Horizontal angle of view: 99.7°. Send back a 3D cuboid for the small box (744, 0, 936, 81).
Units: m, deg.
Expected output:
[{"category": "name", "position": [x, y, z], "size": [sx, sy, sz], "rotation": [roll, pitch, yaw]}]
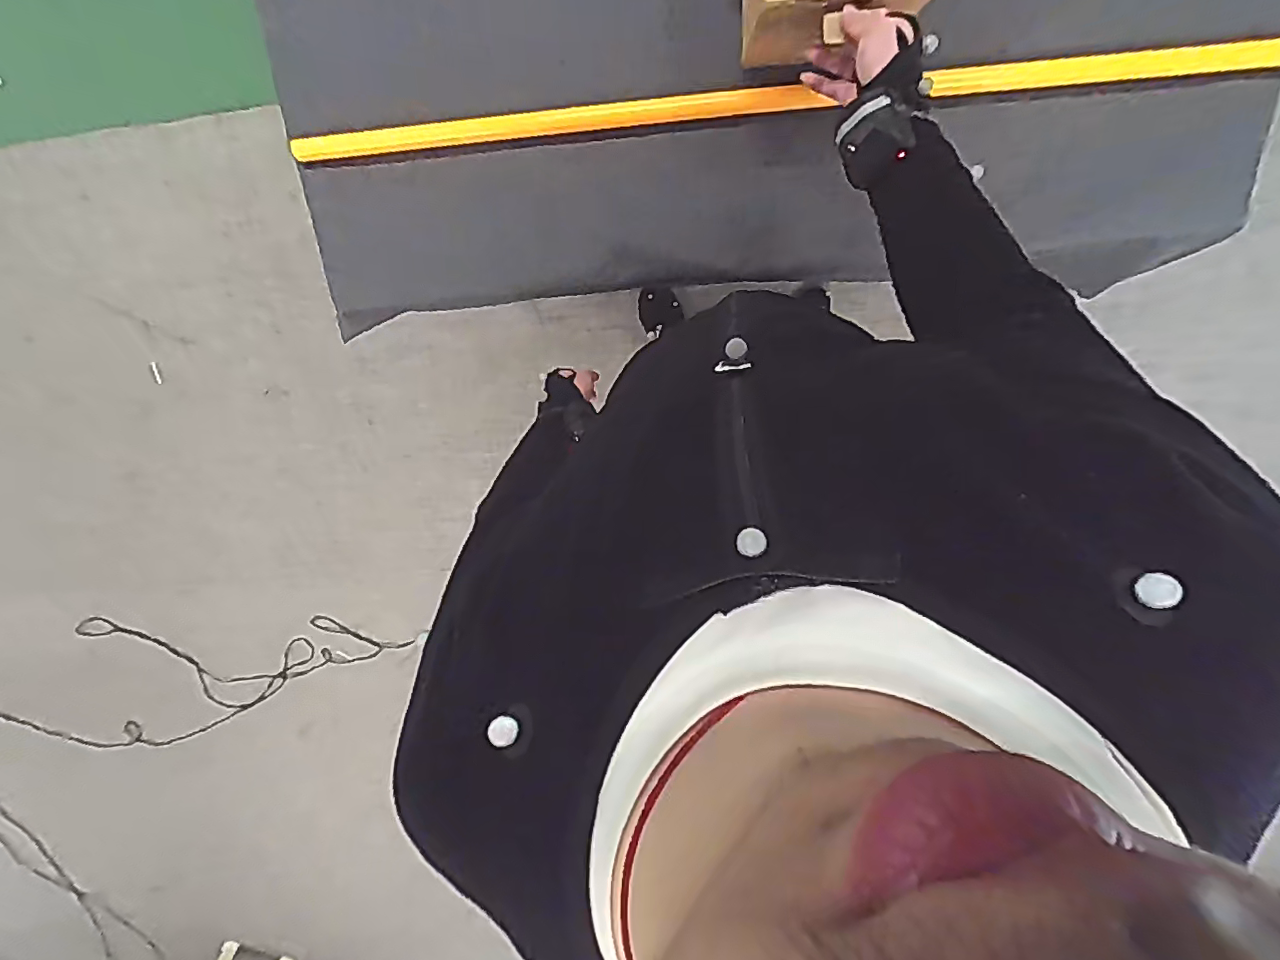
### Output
[{"category": "small box", "position": [0.199, -0.547, 0.561], "size": [0.168, 0.176, 0.179], "rotation": [-4, 109, 8]}]
